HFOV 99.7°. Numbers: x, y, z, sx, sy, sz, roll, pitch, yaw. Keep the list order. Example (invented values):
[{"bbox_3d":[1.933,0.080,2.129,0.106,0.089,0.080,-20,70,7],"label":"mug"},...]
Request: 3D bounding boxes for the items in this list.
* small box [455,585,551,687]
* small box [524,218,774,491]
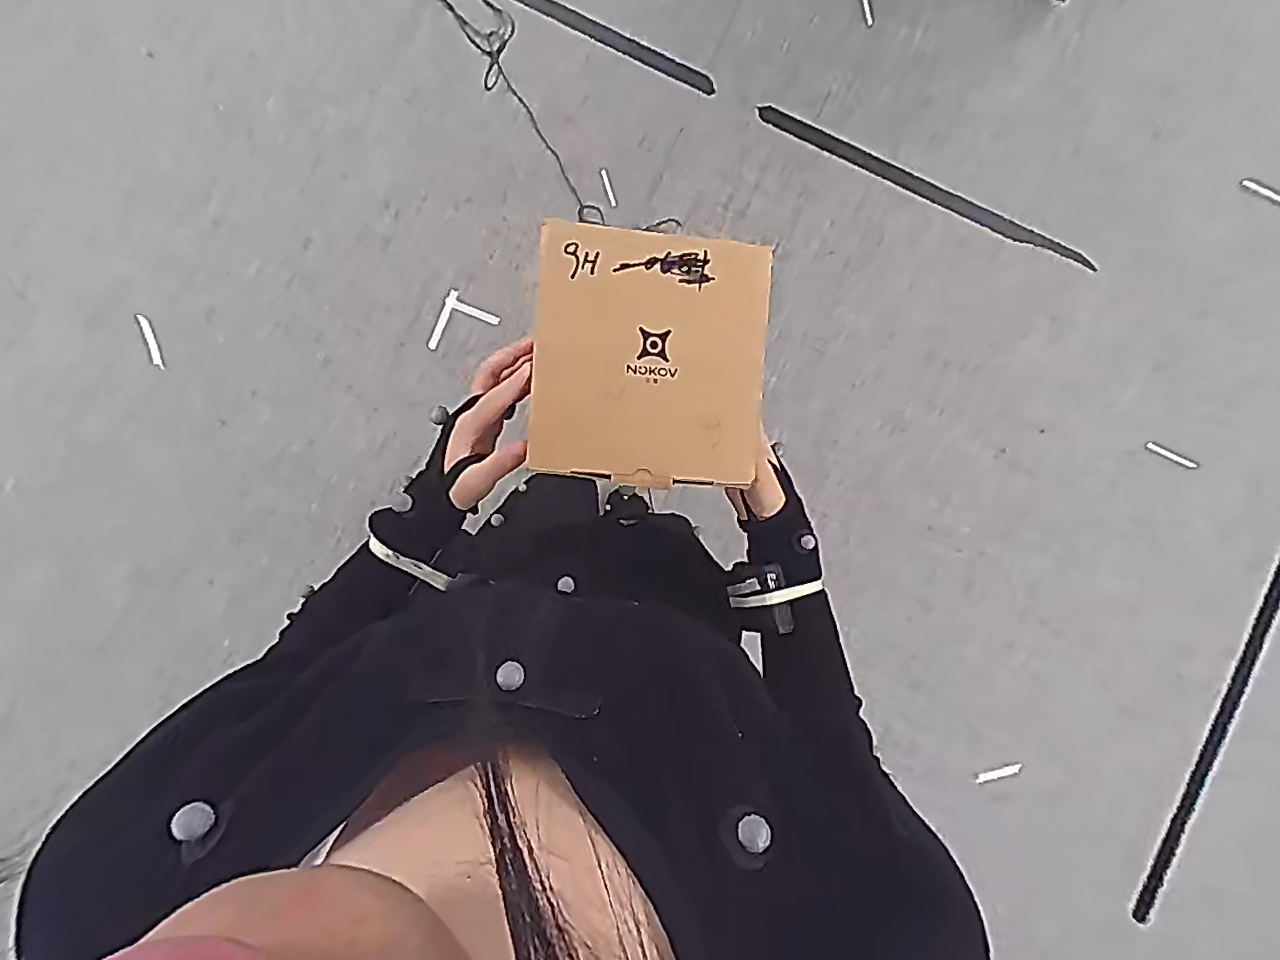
[{"bbox_3d":[-0.342,0.393,1.393,0.168,0.176,0.179,27,88,-1],"label":"small box"},{"bbox_3d":[-0.002,-0.089,0.459,0.168,0.176,0.179,5,92,-8],"label":"small box"}]
